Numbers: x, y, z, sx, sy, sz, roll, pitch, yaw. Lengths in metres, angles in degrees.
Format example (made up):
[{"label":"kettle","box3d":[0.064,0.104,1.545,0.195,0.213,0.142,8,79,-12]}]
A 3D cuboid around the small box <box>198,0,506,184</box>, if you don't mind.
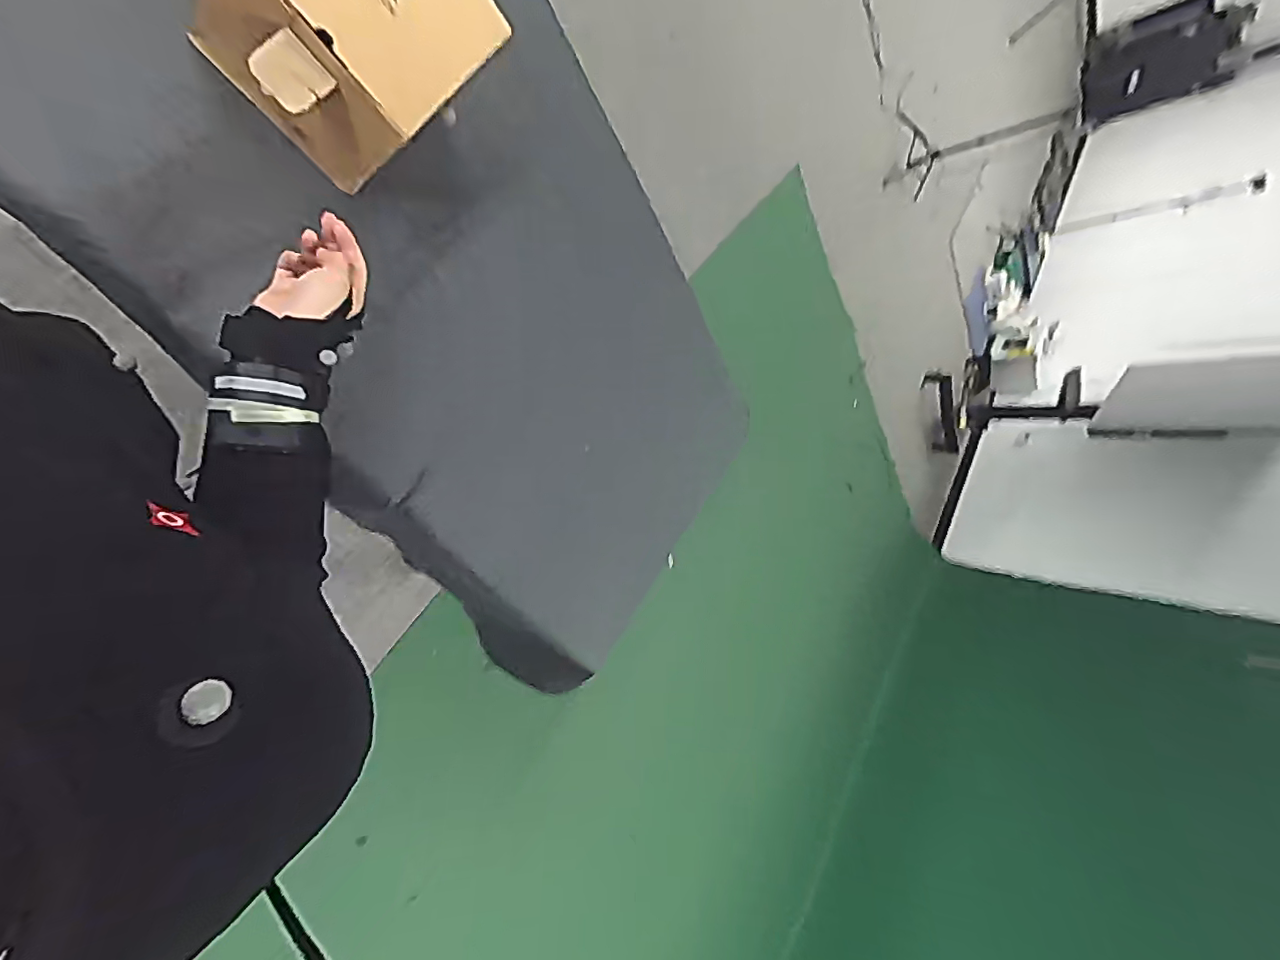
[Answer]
[{"label":"small box","box3d":[-0.268,-0.420,0.505,0.168,0.176,0.179,44,66,-39]}]
